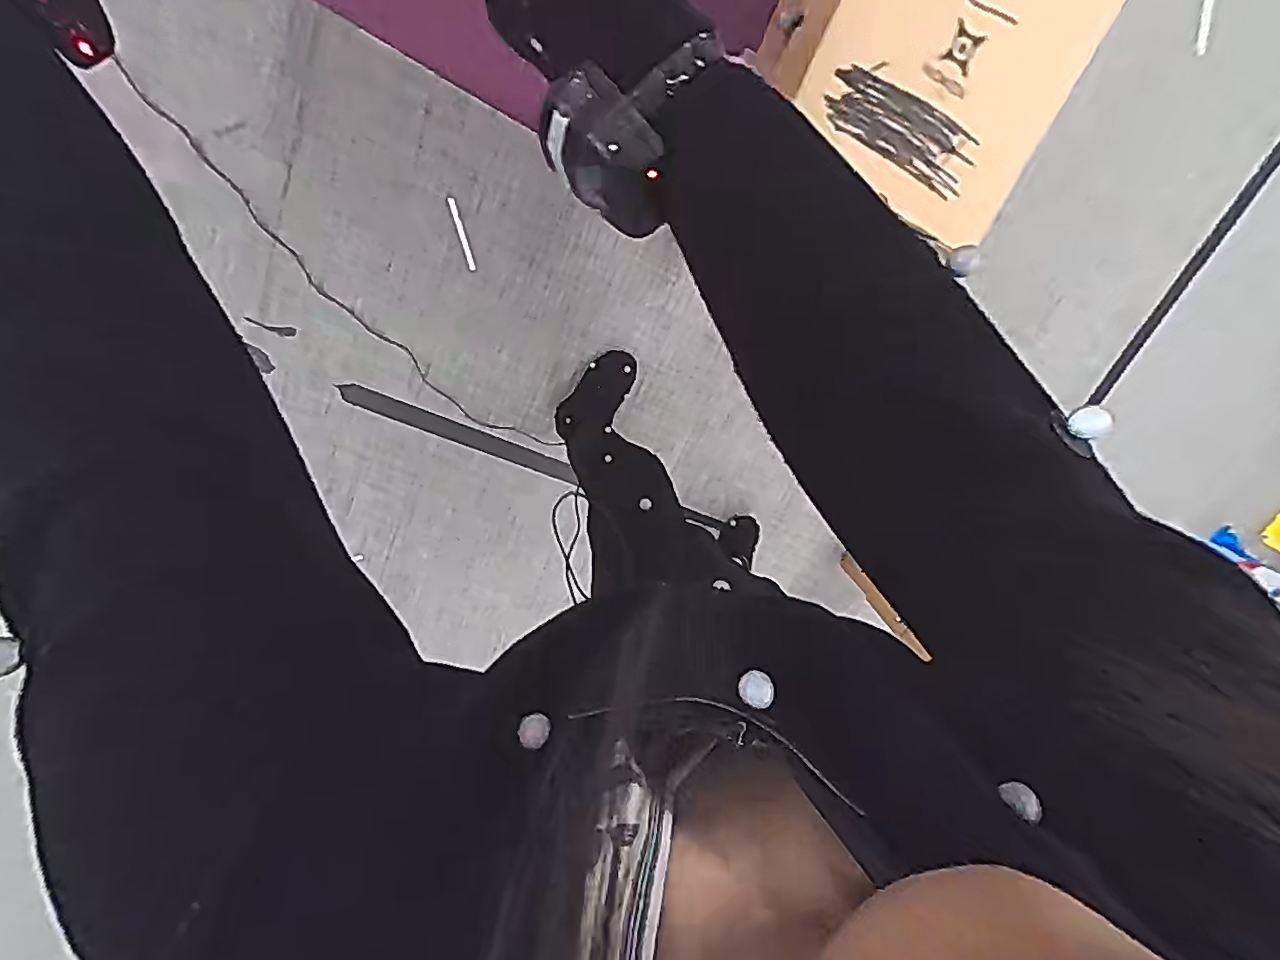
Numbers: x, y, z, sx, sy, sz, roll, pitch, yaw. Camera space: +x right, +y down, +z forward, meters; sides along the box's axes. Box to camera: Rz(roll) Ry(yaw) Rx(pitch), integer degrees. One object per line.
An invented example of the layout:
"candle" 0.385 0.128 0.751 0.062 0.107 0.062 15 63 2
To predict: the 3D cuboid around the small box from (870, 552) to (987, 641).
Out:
"small box" 0.743 0.317 1.417 0.168 0.176 0.179 20 111 -18
